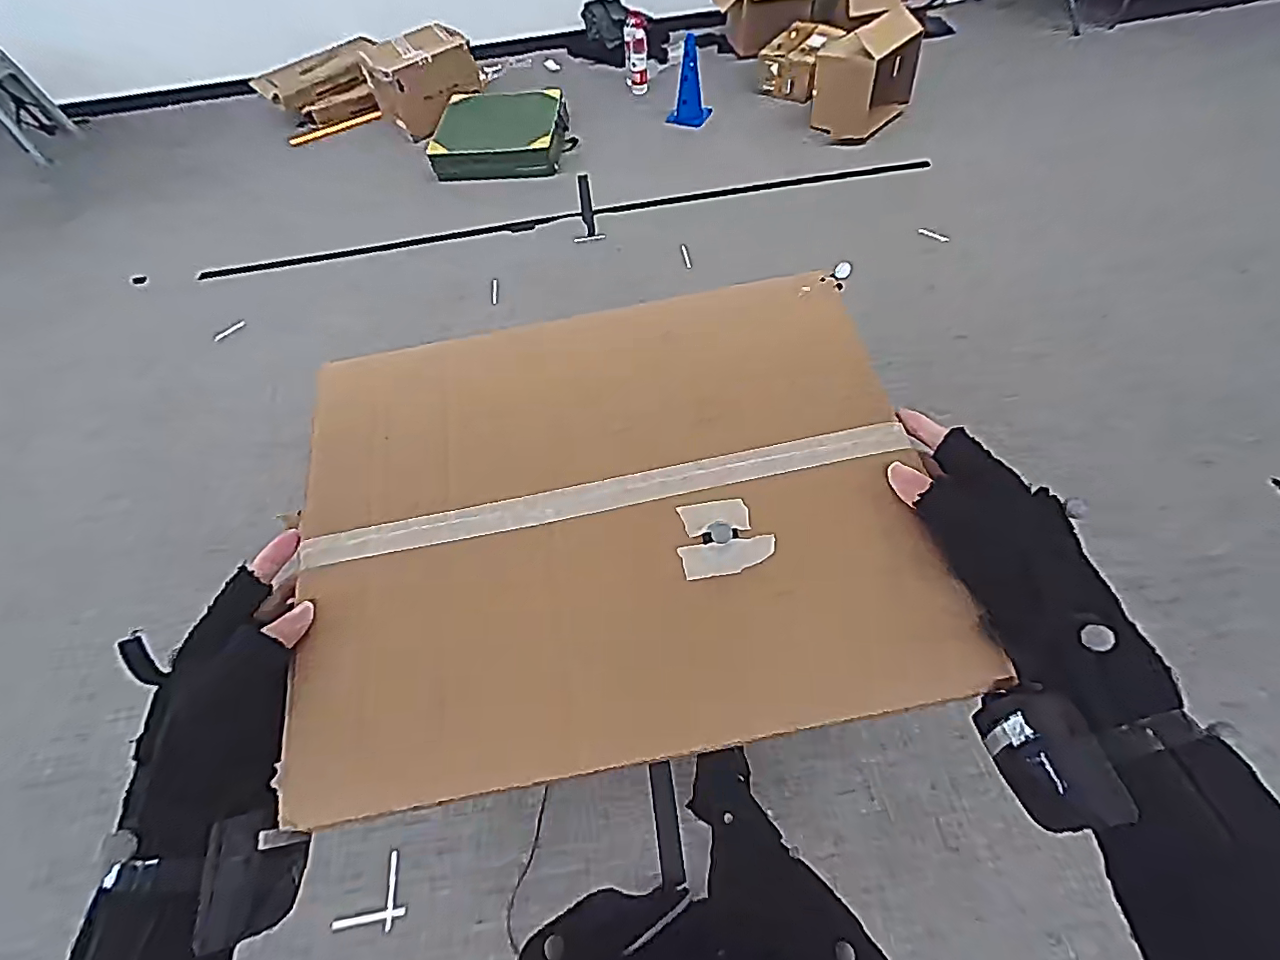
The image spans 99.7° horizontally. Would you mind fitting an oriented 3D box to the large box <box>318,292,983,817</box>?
[{"bbox_3d":[-0.010,0.082,0.509,0.408,0.320,0.320,-11,65,-2],"label":"large box"}]
